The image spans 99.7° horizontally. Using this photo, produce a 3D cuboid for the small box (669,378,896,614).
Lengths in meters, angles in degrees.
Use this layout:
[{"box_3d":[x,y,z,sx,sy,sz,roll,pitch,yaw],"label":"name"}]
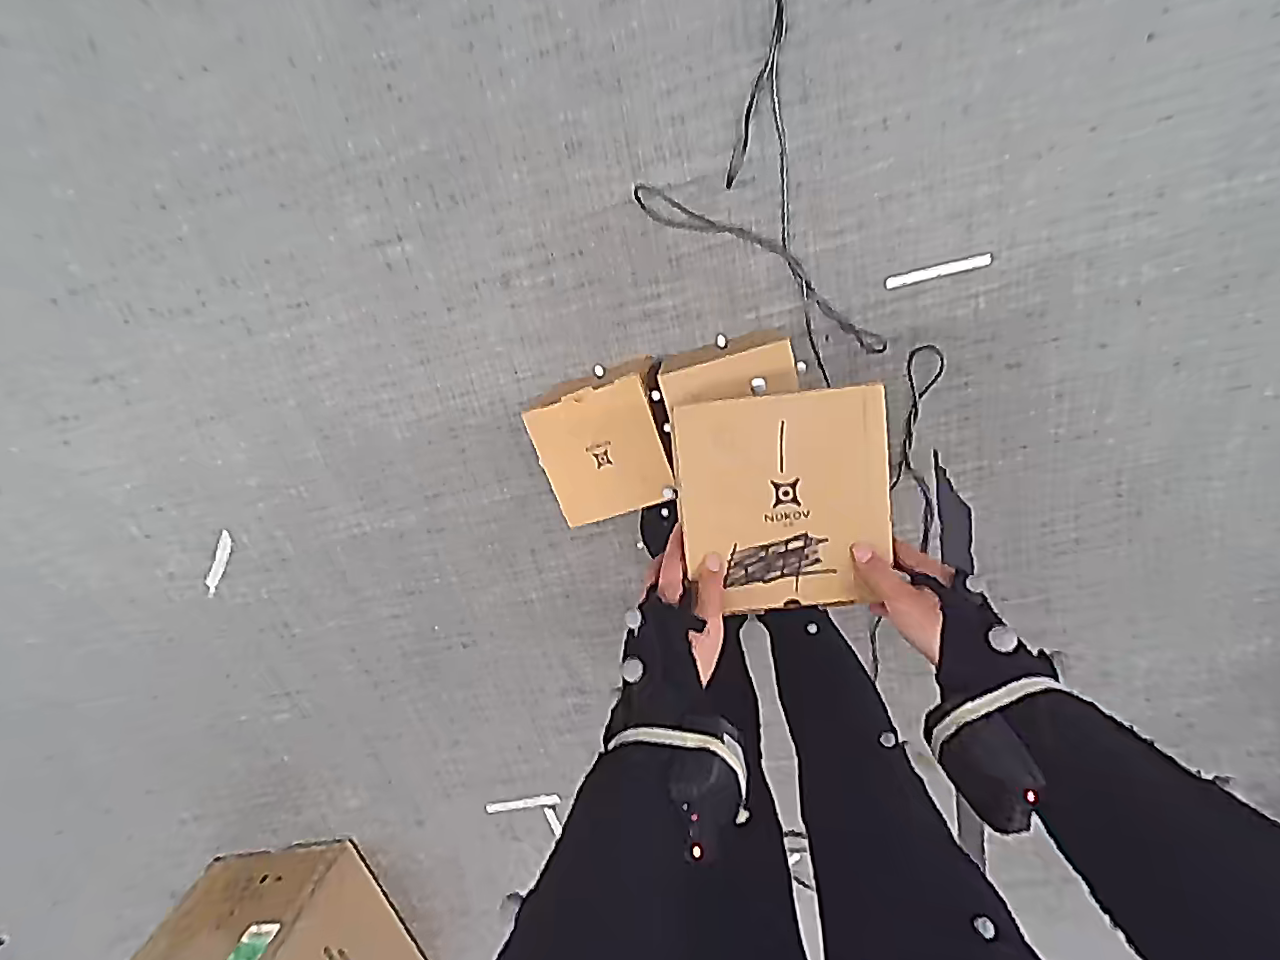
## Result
[{"box_3d":[0.115,0.006,0.496,0.168,0.176,0.179,-5,96,2],"label":"small box"}]
